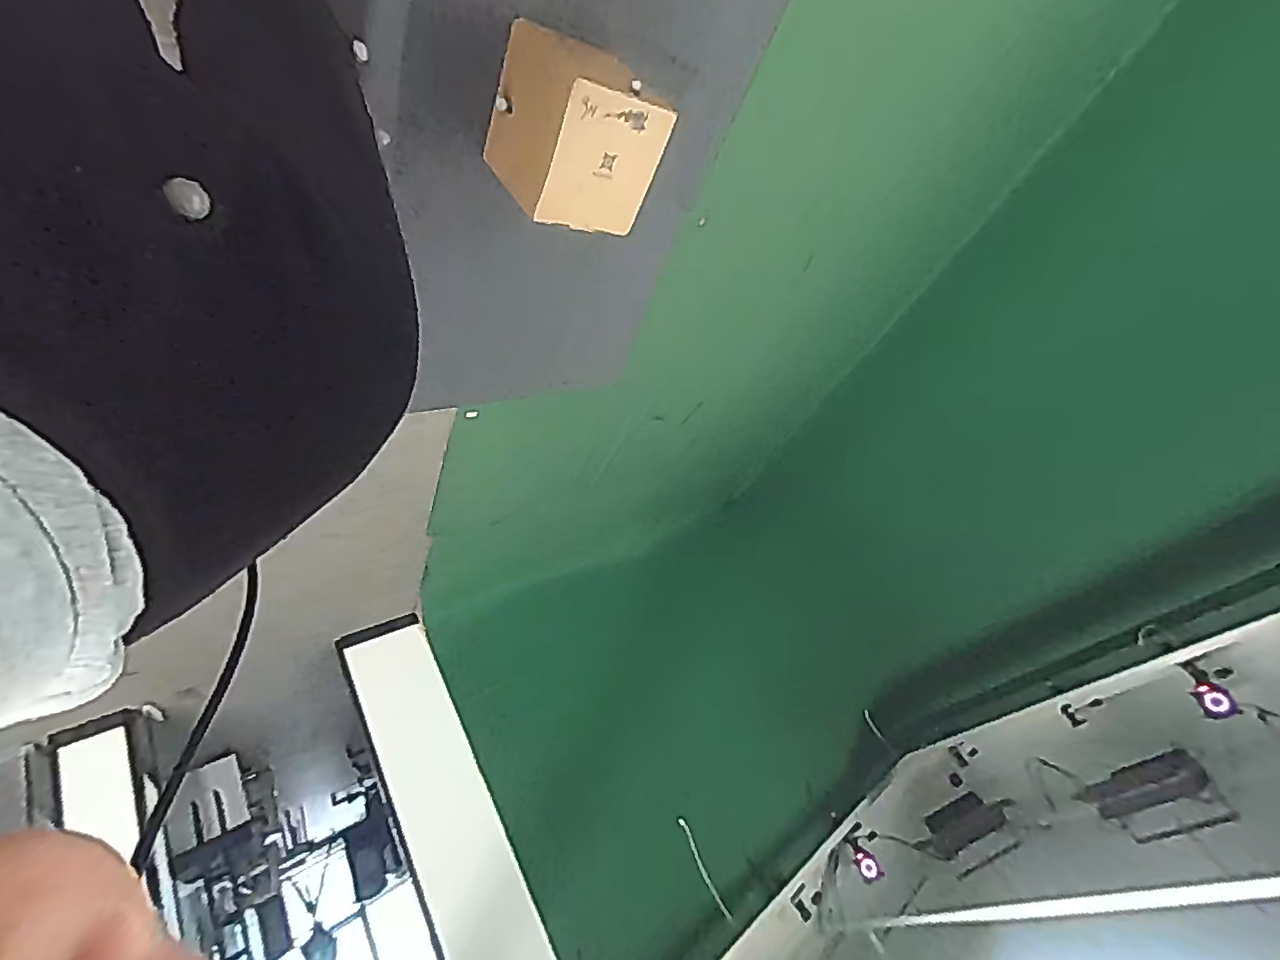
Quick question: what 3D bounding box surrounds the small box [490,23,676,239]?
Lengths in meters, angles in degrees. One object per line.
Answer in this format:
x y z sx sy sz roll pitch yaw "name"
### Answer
-0.088 -0.468 0.743 0.168 0.176 0.179 -13 149 -40 "small box"
